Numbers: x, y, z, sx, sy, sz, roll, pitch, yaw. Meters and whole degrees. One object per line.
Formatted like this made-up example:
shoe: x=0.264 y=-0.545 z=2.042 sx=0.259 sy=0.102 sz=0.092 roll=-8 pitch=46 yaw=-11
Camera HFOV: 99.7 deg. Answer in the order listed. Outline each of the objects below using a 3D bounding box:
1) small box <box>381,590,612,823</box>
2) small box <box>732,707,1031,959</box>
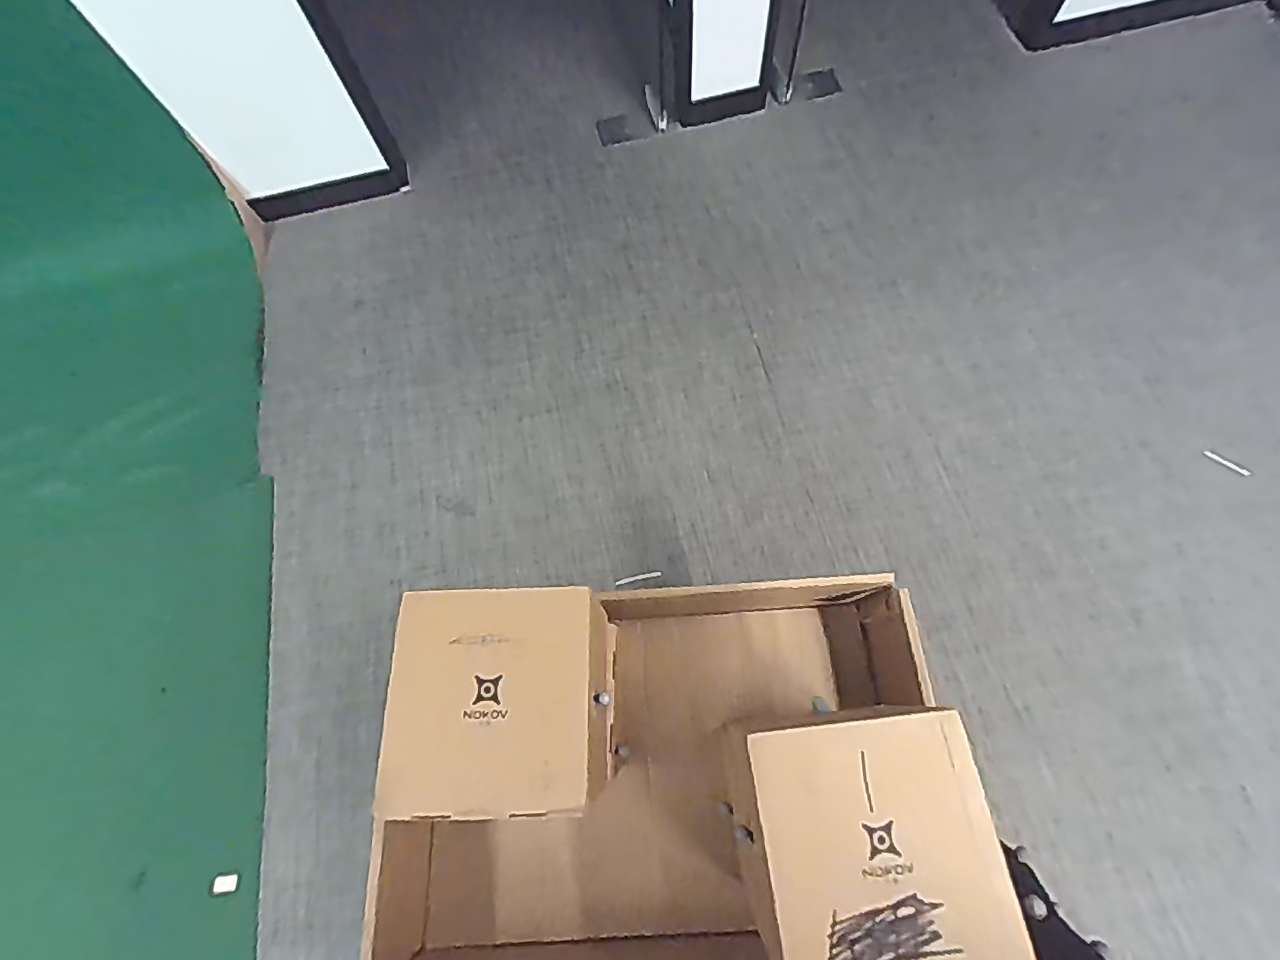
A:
small box: x=-0.115 y=0.206 z=0.513 sx=0.168 sy=0.176 sz=0.179 roll=-1 pitch=68 yaw=1
small box: x=0.177 y=0.296 z=0.458 sx=0.168 sy=0.176 sz=0.179 roll=-7 pitch=67 yaw=1
